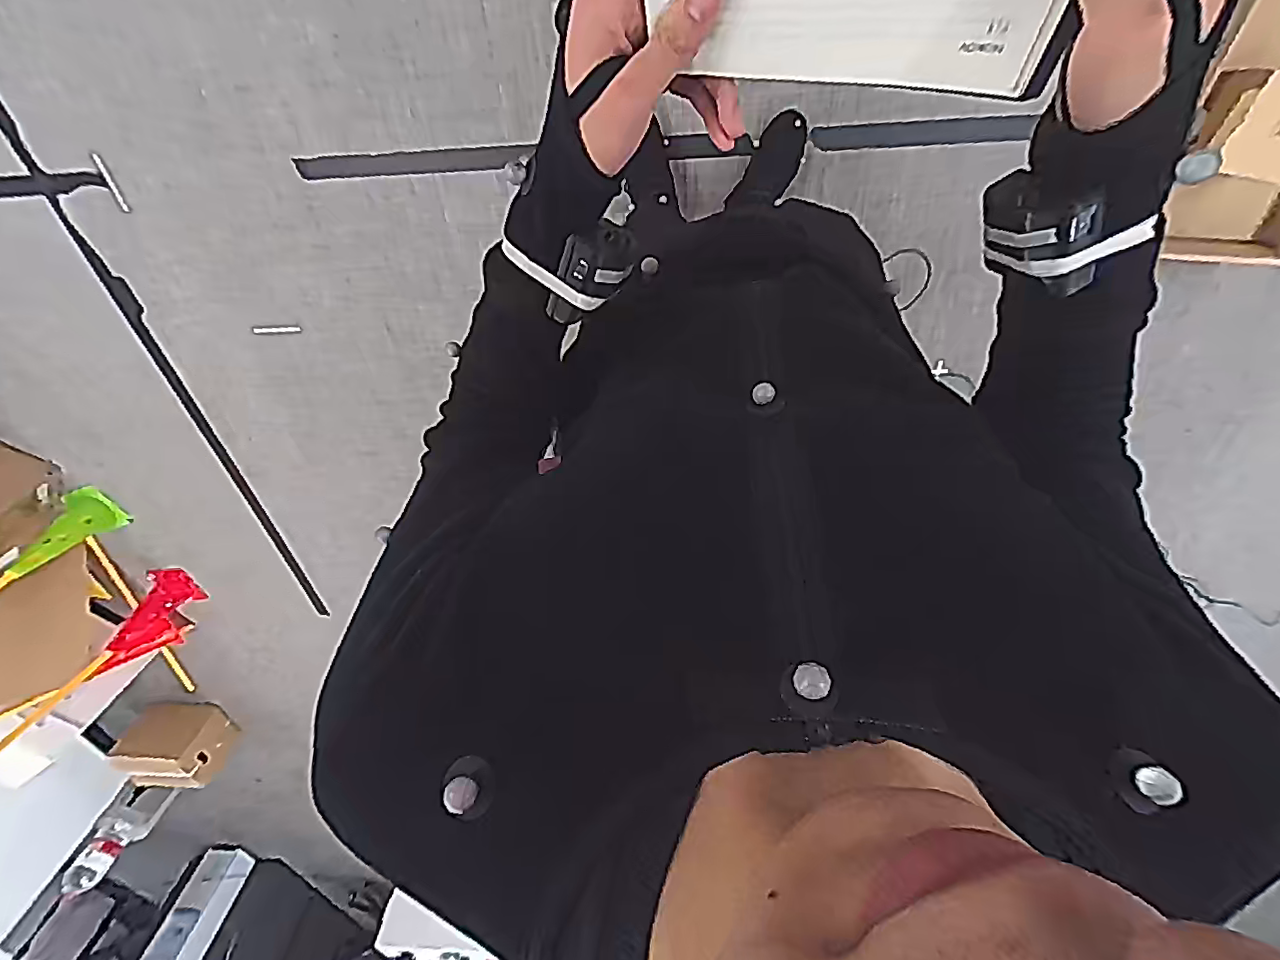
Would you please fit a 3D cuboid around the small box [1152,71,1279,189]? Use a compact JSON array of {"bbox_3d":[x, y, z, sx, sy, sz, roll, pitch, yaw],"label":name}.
[{"bbox_3d":[1.224,-0.711,1.100,0.179,0.176,0.168,10,126,-3],"label":"small box"}]
